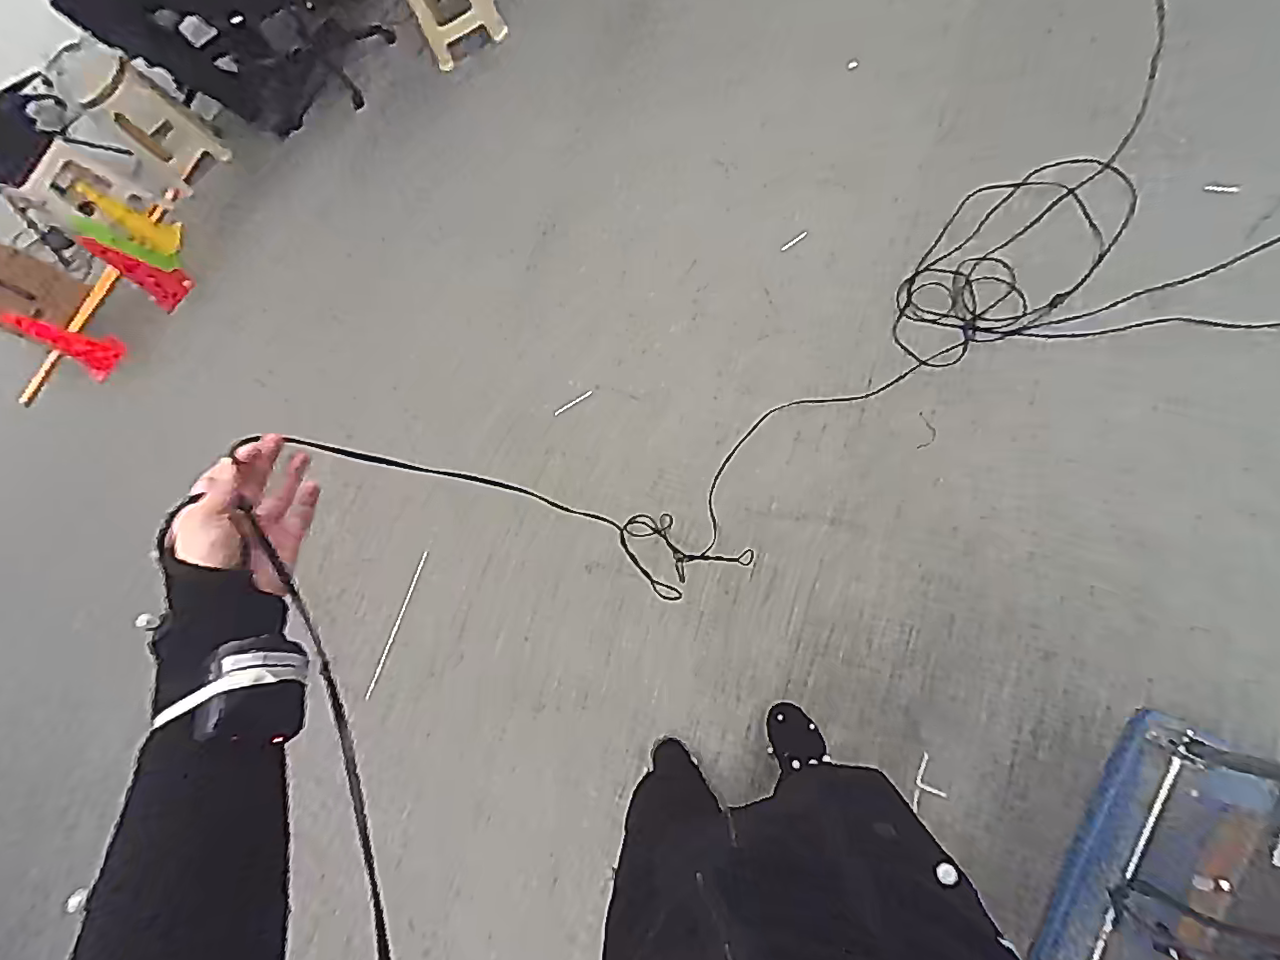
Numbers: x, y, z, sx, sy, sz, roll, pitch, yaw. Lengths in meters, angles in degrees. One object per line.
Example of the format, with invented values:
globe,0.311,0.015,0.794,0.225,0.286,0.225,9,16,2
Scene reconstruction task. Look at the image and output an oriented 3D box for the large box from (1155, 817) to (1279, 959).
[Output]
large box,1.084,0.773,0.751,0.408,0.320,0.320,31,83,22
